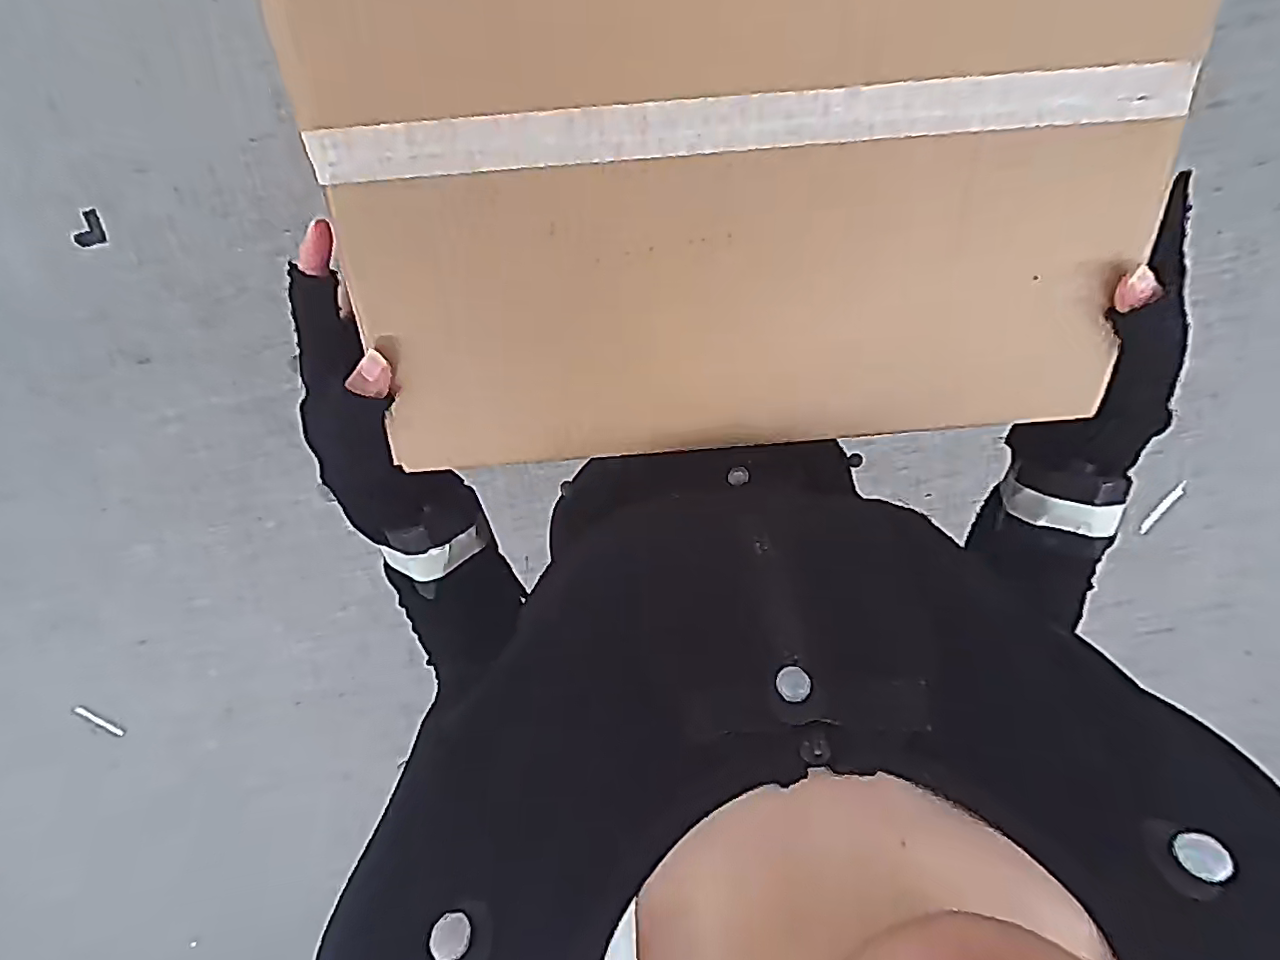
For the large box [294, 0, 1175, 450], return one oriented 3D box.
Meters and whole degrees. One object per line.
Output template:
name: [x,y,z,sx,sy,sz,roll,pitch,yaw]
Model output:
large box: [0.041,-0.235,0.397,0.408,0.320,0.320,-5,115,-1]
